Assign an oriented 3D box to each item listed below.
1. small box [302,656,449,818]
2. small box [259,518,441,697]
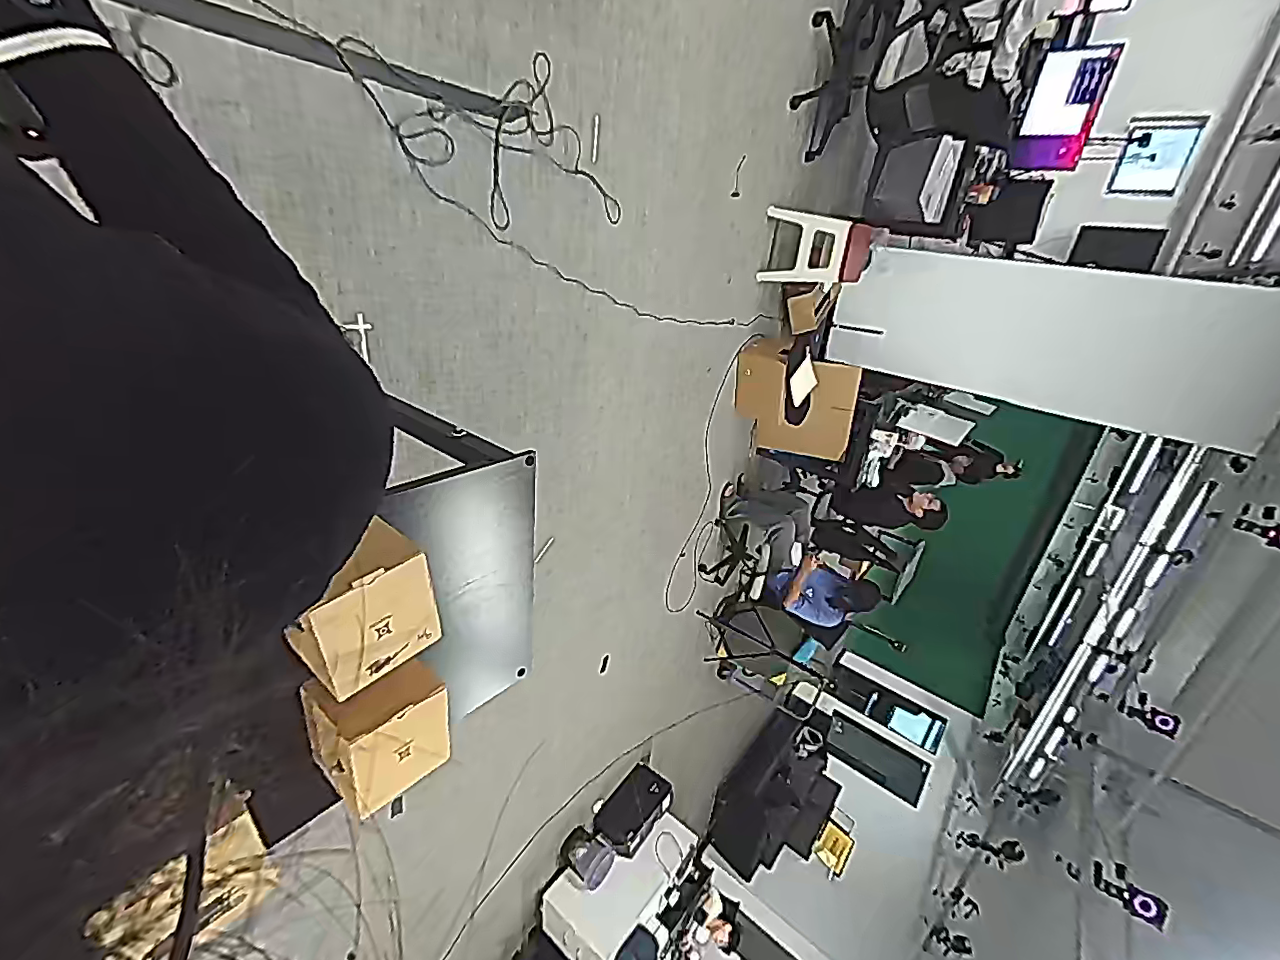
[{"bbox_3d":[-0.450,0.416,0.929,0.168,0.176,0.179,-23,127,-48],"label":"small box"},{"bbox_3d":[-0.429,0.174,0.808,0.168,0.176,0.179,-30,133,-43],"label":"small box"}]
